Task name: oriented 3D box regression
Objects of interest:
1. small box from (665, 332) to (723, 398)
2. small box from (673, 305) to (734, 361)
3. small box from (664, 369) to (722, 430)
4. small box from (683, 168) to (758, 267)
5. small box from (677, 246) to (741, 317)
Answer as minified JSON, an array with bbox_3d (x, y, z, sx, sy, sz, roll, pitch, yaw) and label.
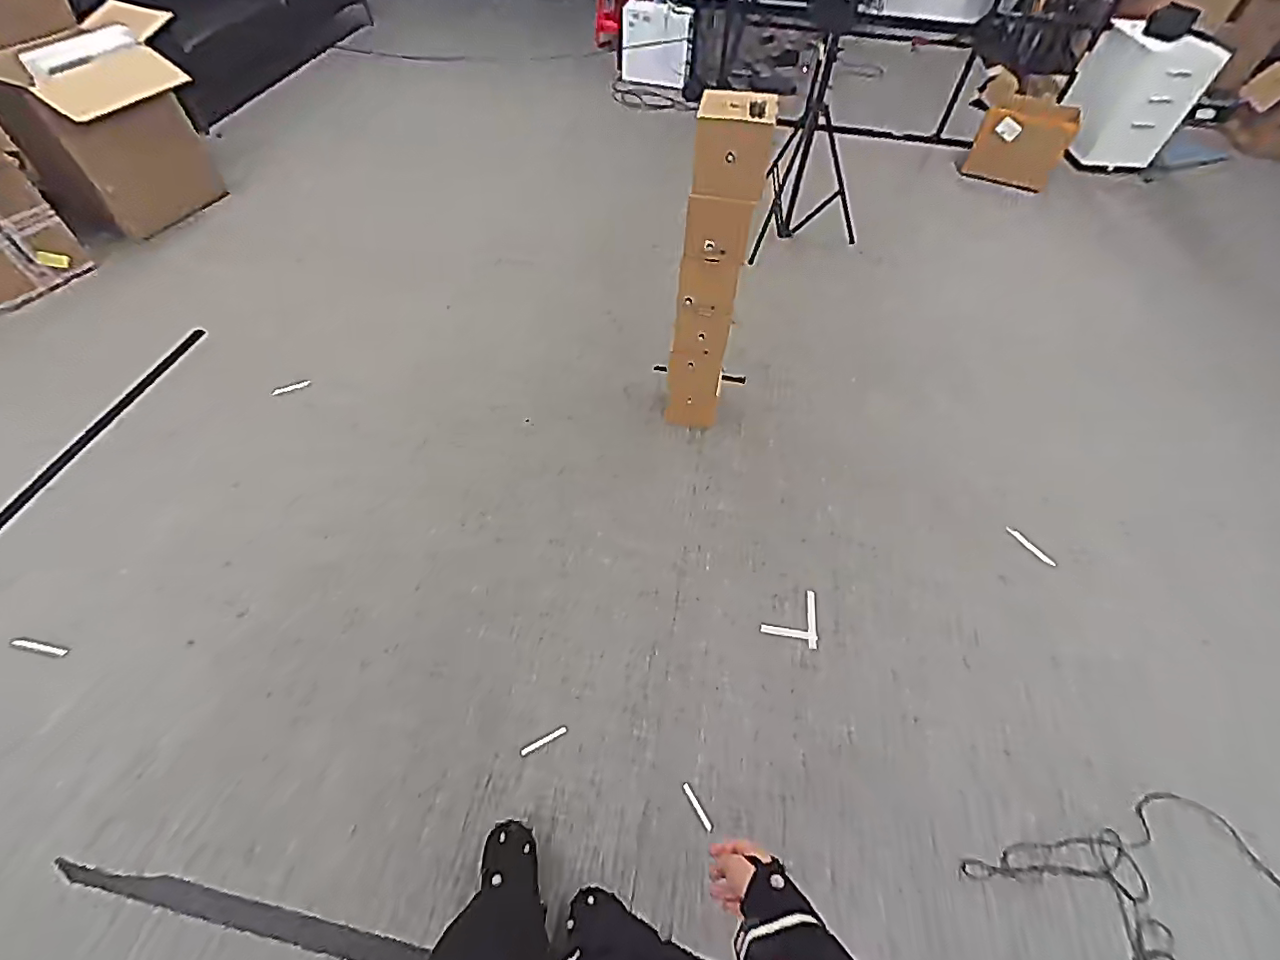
[{"bbox_3d":[0.185,-0.397,1.814,0.179,0.176,0.168,12,55,7],"label":"small box"},{"bbox_3d":[0.199,-0.494,1.683,0.168,0.176,0.179,11,55,6],"label":"small box"},{"bbox_3d":[0.188,-0.302,1.948,0.179,0.176,0.168,10,54,5],"label":"small box"},{"bbox_3d":[0.208,-0.688,1.421,0.168,0.176,0.179,8,55,5],"label":"small box"},{"bbox_3d":[0.201,-0.593,1.552,0.168,0.176,0.179,10,53,6],"label":"small box"}]
